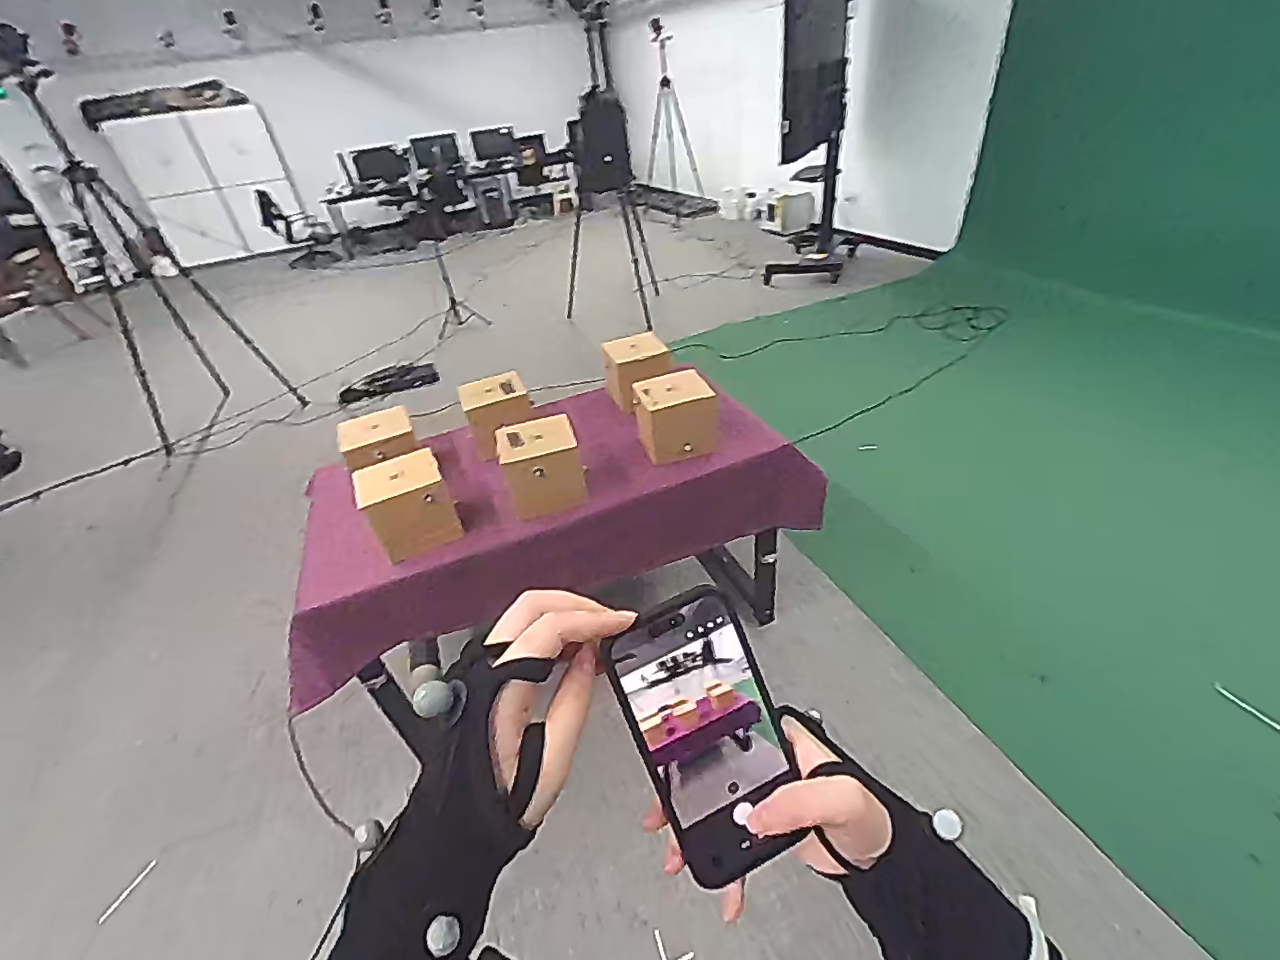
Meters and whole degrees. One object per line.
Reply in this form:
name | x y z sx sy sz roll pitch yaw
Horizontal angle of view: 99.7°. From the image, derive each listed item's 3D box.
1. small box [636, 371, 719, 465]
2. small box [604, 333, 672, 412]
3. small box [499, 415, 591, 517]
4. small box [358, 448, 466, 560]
small box | 0.098 -0.163 1.425 0.179 0.176 0.168 -14 36 -9
small box | -0.004 -0.331 1.669 0.168 0.176 0.179 -17 38 -11
small box | -0.230 -0.033 1.310 0.179 0.176 0.168 -14 37 -10
small box | -0.523 0.056 1.246 0.179 0.176 0.168 -21 38 -19
